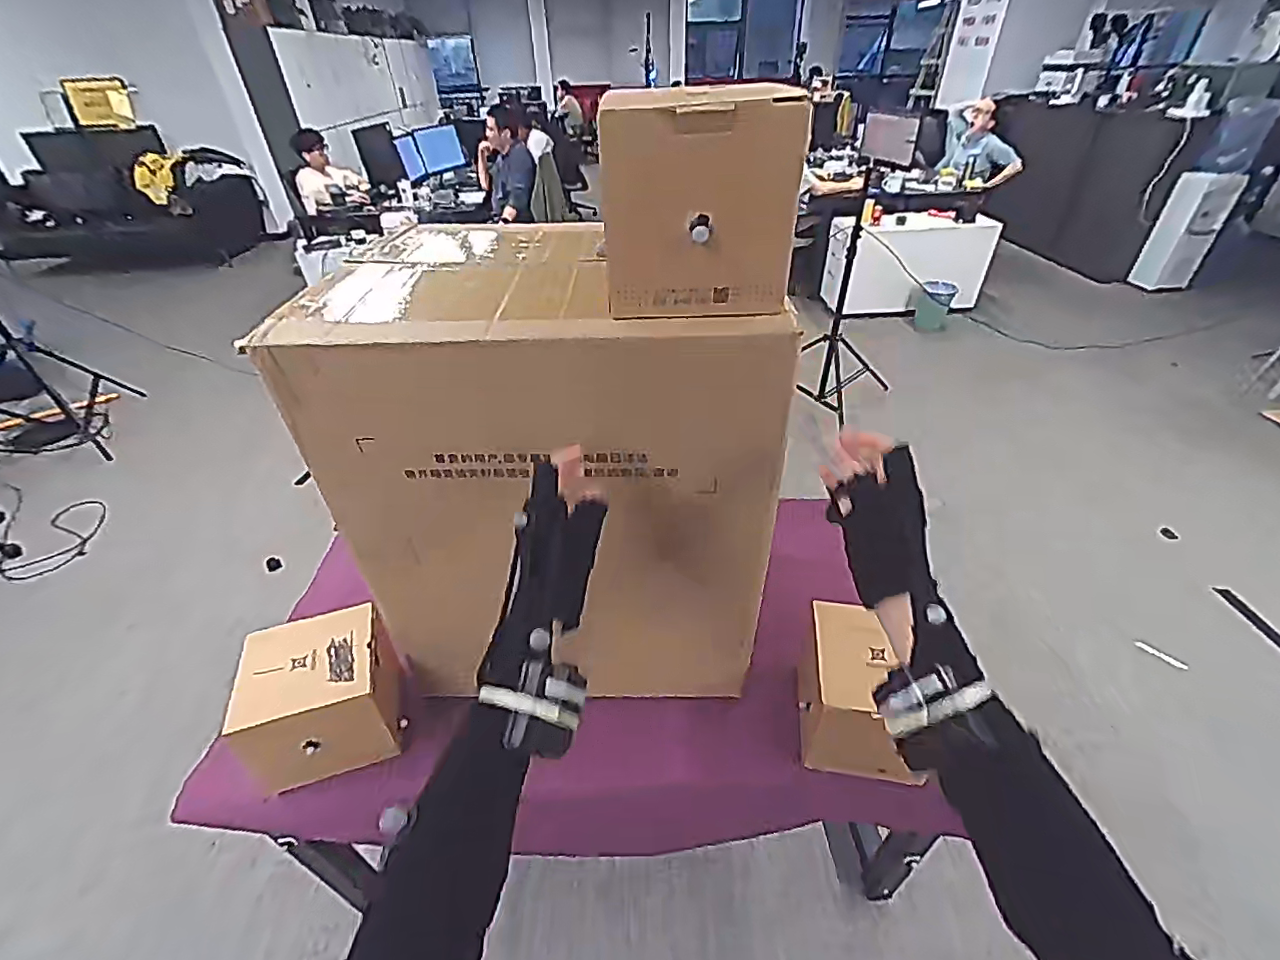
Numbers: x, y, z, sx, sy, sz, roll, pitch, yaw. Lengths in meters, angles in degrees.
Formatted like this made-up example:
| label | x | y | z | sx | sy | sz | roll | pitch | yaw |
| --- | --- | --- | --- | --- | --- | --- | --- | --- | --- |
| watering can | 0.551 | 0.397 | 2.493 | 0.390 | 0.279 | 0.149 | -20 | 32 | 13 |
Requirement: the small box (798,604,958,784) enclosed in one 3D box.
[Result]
| label | x | y | z | sx | sy | sz | roll | pitch | yaw |
| --- | --- | --- | --- | --- | --- | --- | --- | --- | --- |
| small box | 0.330 | 0.310 | 0.789 | 0.168 | 0.176 | 0.179 | 5 | 37 | 8 |

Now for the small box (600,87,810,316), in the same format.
| label | x | y | z | sx | sy | sz | roll | pitch | yaw |
| --- | --- | --- | --- | --- | --- | --- | --- | --- | --- |
| small box | 0.055 | -0.269 | 0.529 | 0.168 | 0.176 | 0.179 | -1 | 39 | 2 |
